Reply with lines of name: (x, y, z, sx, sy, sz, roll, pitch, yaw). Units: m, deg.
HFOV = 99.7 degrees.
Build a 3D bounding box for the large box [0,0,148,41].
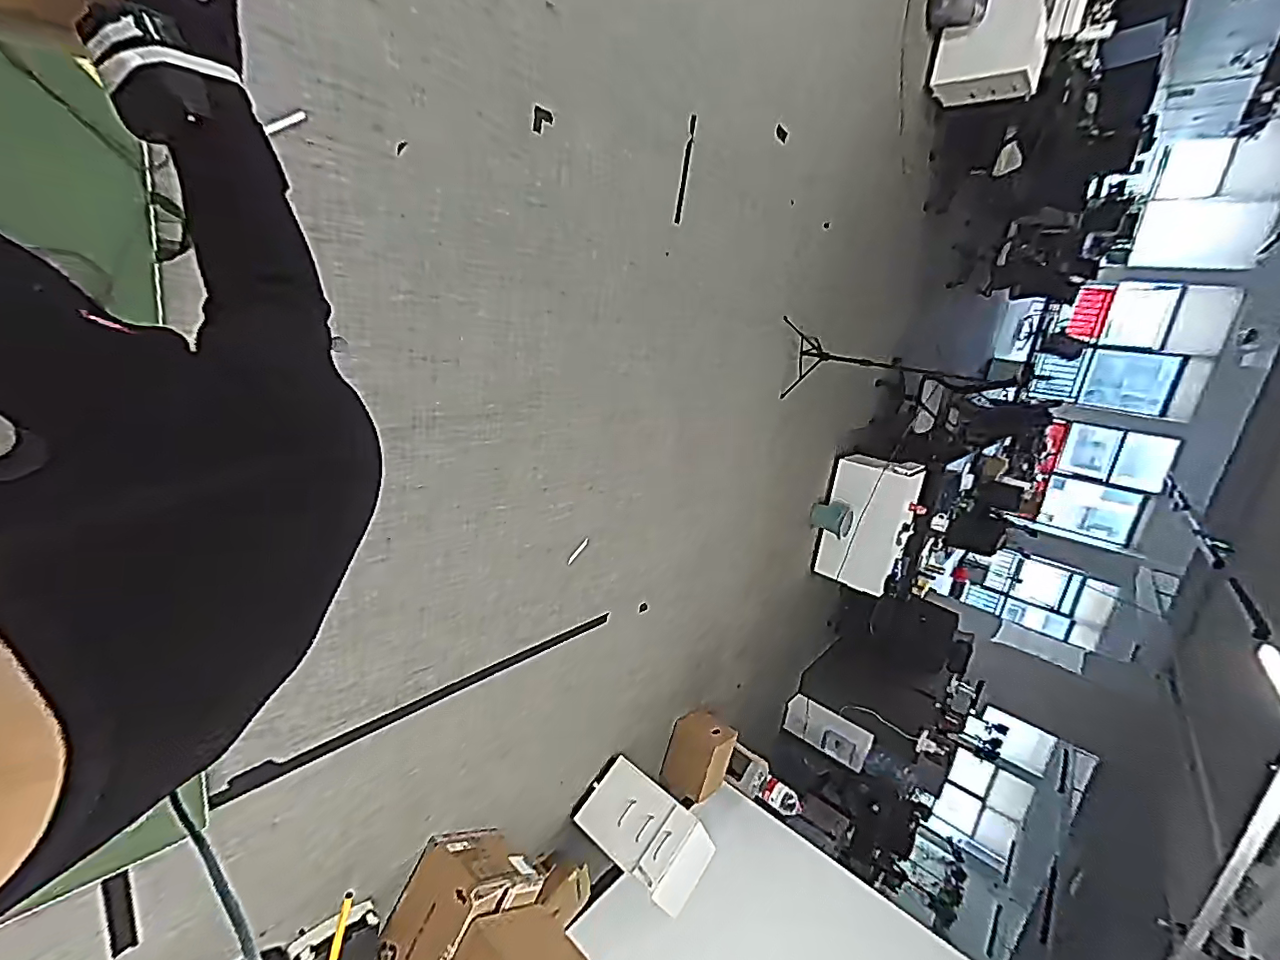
large box: (-0.585, -0.486, 0.280, 0.408, 0.320, 0.320, -19, 129, -46)
